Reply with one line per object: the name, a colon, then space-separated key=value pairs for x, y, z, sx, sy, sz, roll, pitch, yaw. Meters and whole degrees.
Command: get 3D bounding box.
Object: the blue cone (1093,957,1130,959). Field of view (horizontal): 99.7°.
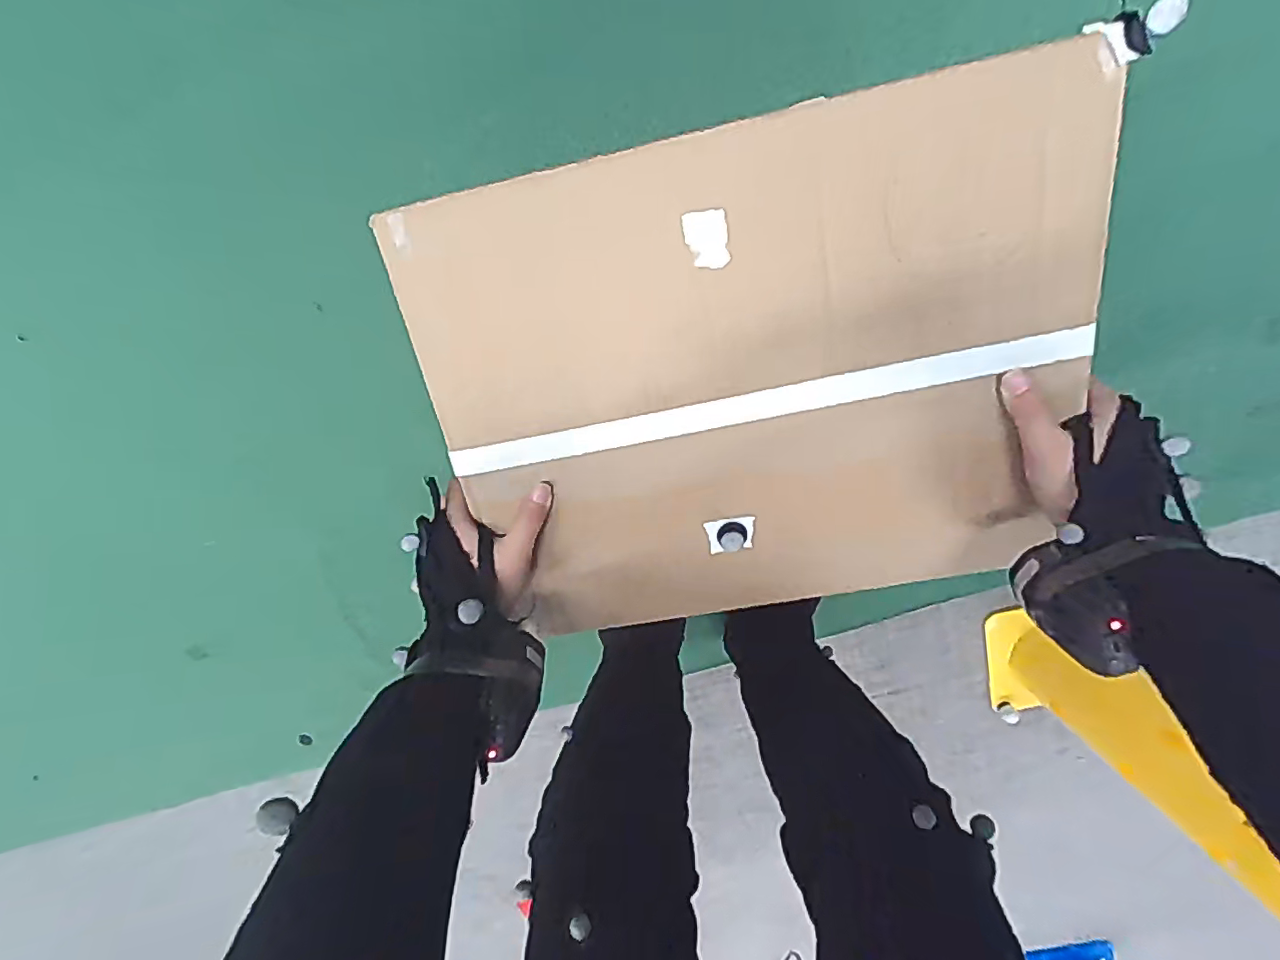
blue cone: x=0.896 y=1.095 z=0.943 sx=0.192 sy=0.380 sz=0.193 roll=-19 pitch=111 yaw=10
